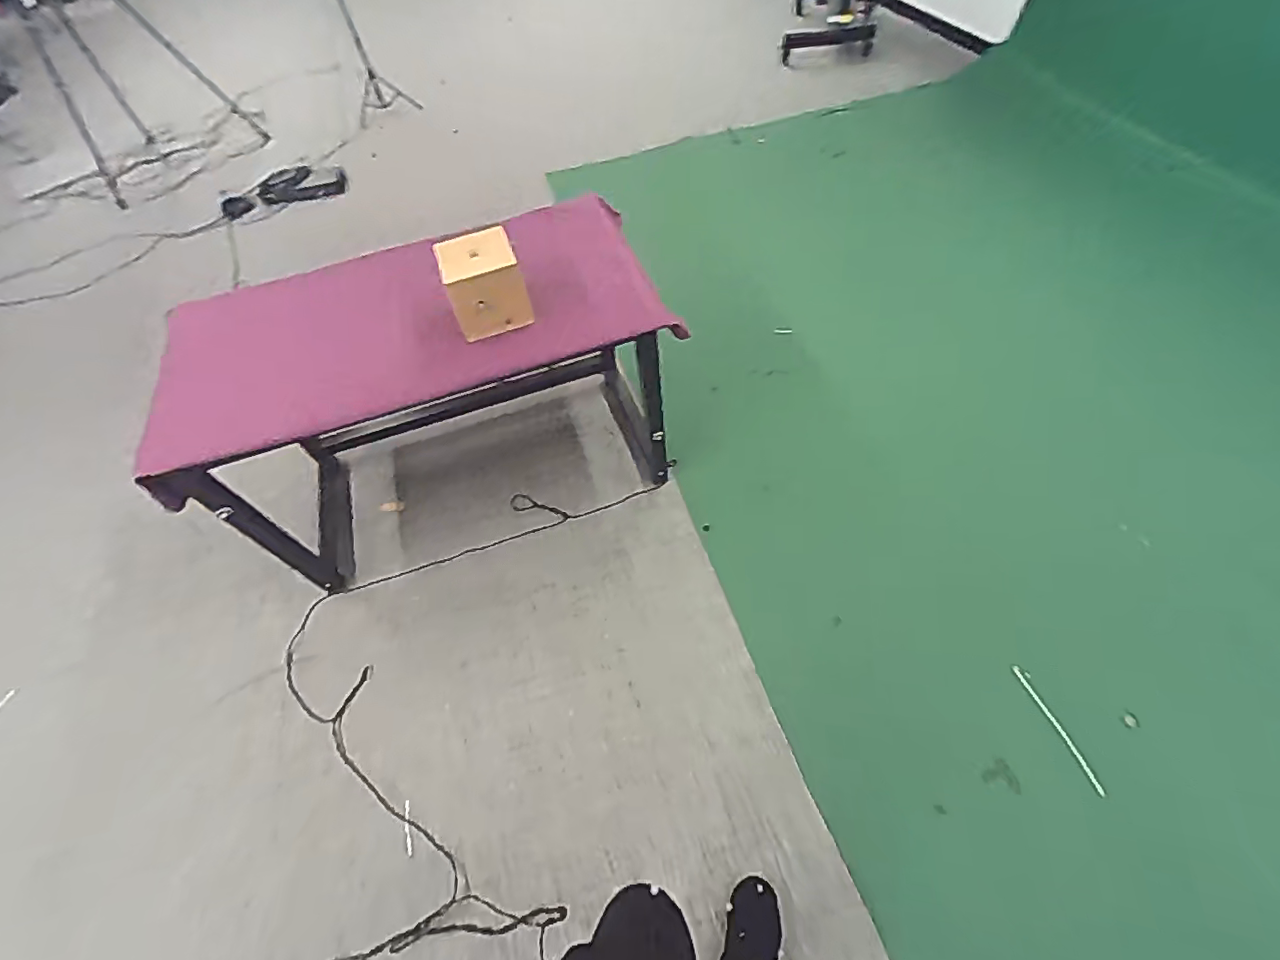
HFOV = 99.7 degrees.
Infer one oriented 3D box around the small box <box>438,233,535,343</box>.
[{"bbox_3d":[-0.362,-0.450,1.293,0.168,0.176,0.179,-20,54,-7],"label":"small box"}]
